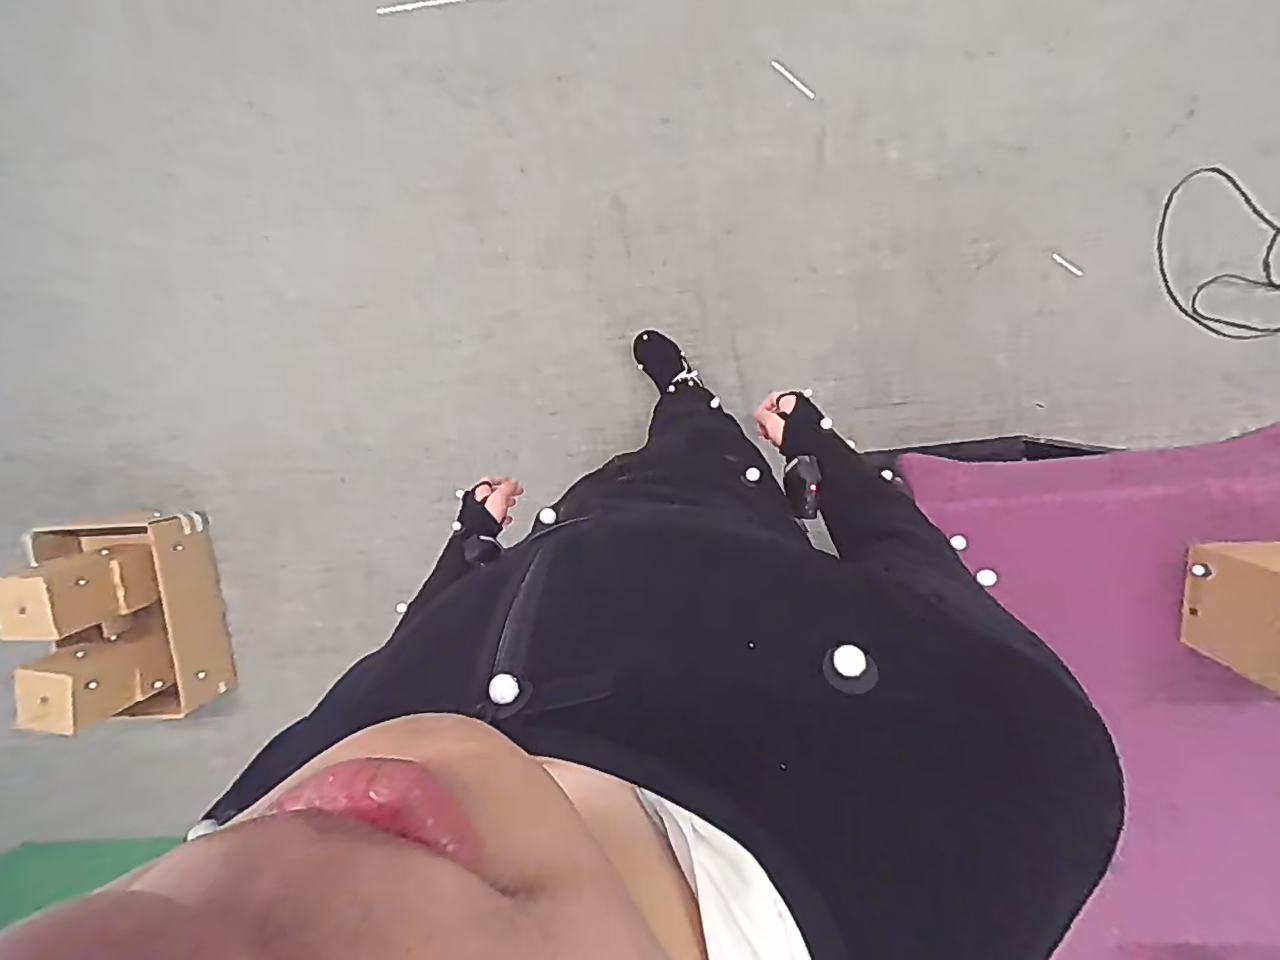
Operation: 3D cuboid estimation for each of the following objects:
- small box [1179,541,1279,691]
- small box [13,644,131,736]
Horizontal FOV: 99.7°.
[{"bbox_3d":[0.934,0.189,0.769,0.179,0.176,0.168,-3,100,5],"label":"small box"},{"bbox_3d":[-1.582,0.580,1.516,0.168,0.176,0.179,7,98,4],"label":"small box"}]
